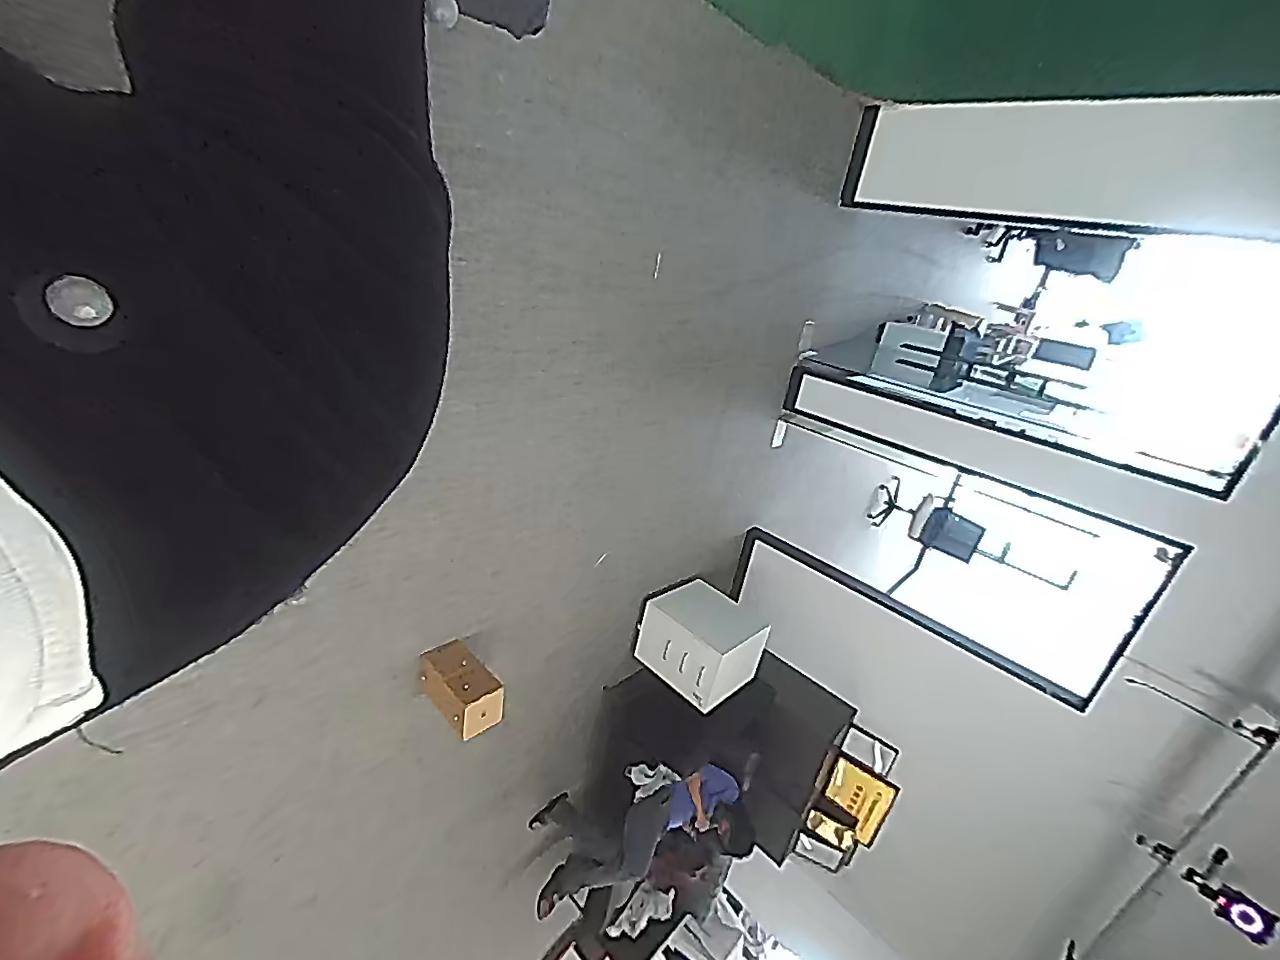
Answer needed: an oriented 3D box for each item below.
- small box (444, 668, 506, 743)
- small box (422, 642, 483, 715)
[{"bbox_3d":[-0.632,0.845,2.056,0.168,0.176,0.179,-16,125,-45],"label":"small box"},{"bbox_3d":[-0.749,0.783,2.149,0.168,0.176,0.179,-13,122,-47],"label":"small box"}]
